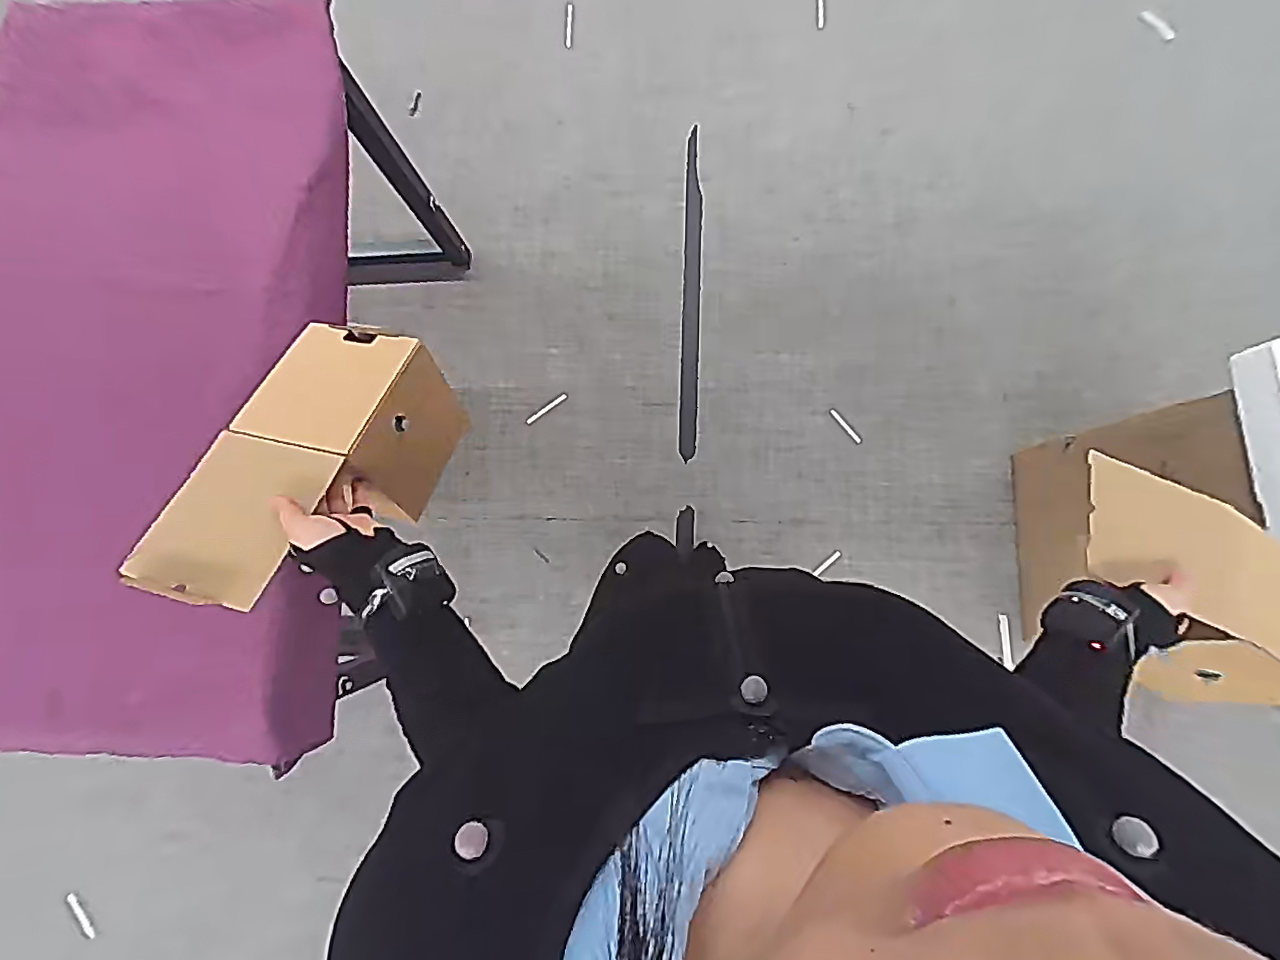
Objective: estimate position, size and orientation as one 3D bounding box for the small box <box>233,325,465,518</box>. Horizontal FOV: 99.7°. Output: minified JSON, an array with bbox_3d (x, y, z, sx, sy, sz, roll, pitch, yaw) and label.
[{"bbox_3d":[-0.355,-0.071,0.703,0.168,0.176,0.179,11,61,13],"label":"small box"}]
